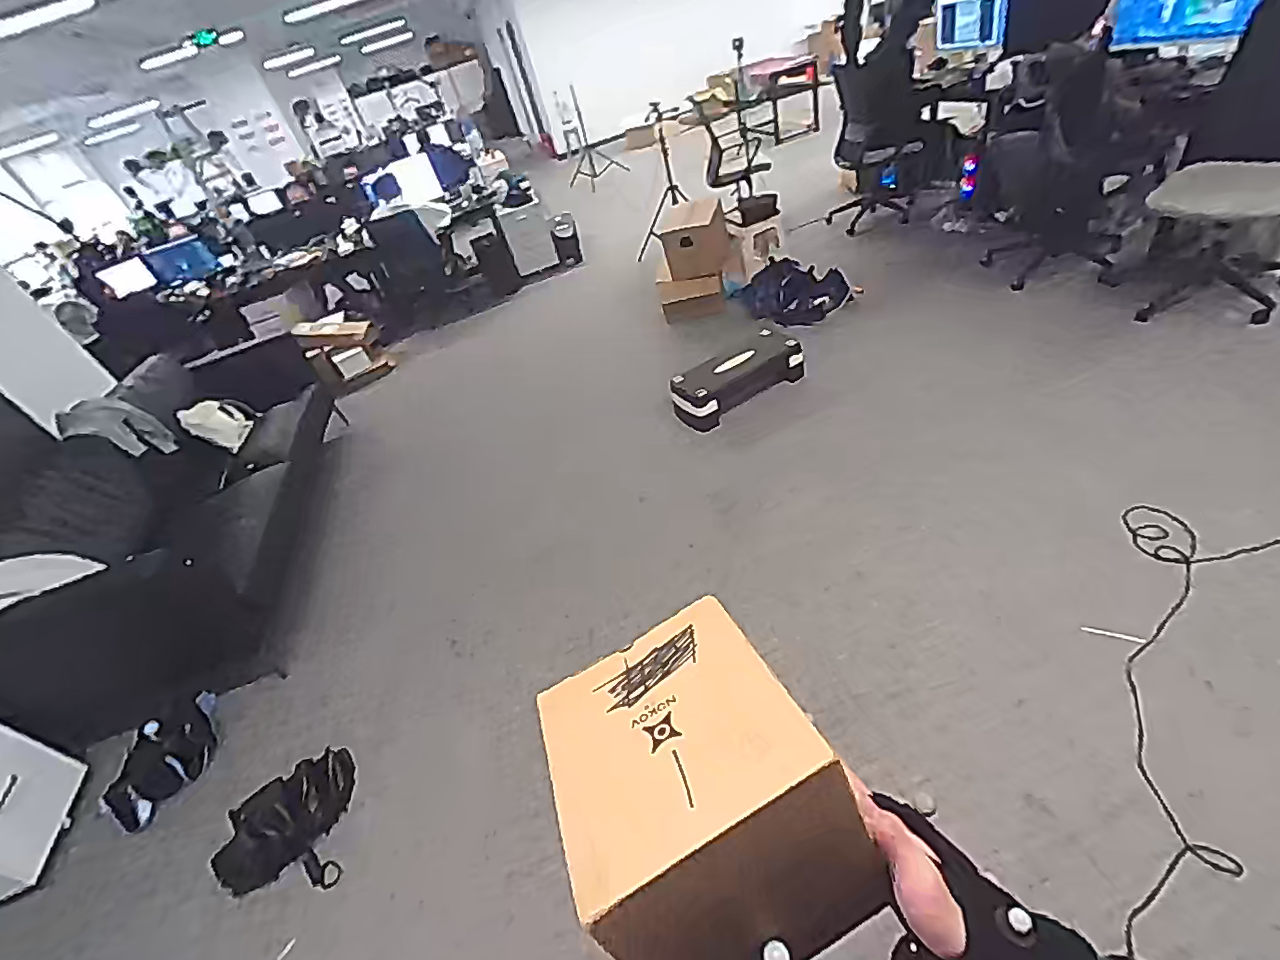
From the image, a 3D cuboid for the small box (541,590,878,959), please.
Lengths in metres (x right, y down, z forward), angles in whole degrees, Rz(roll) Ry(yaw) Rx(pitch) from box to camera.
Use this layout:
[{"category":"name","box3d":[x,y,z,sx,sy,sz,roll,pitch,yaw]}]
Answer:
[{"category":"small box","box3d":[0.044,0.224,0.406,0.168,0.176,0.179,-29,27,-5]}]
